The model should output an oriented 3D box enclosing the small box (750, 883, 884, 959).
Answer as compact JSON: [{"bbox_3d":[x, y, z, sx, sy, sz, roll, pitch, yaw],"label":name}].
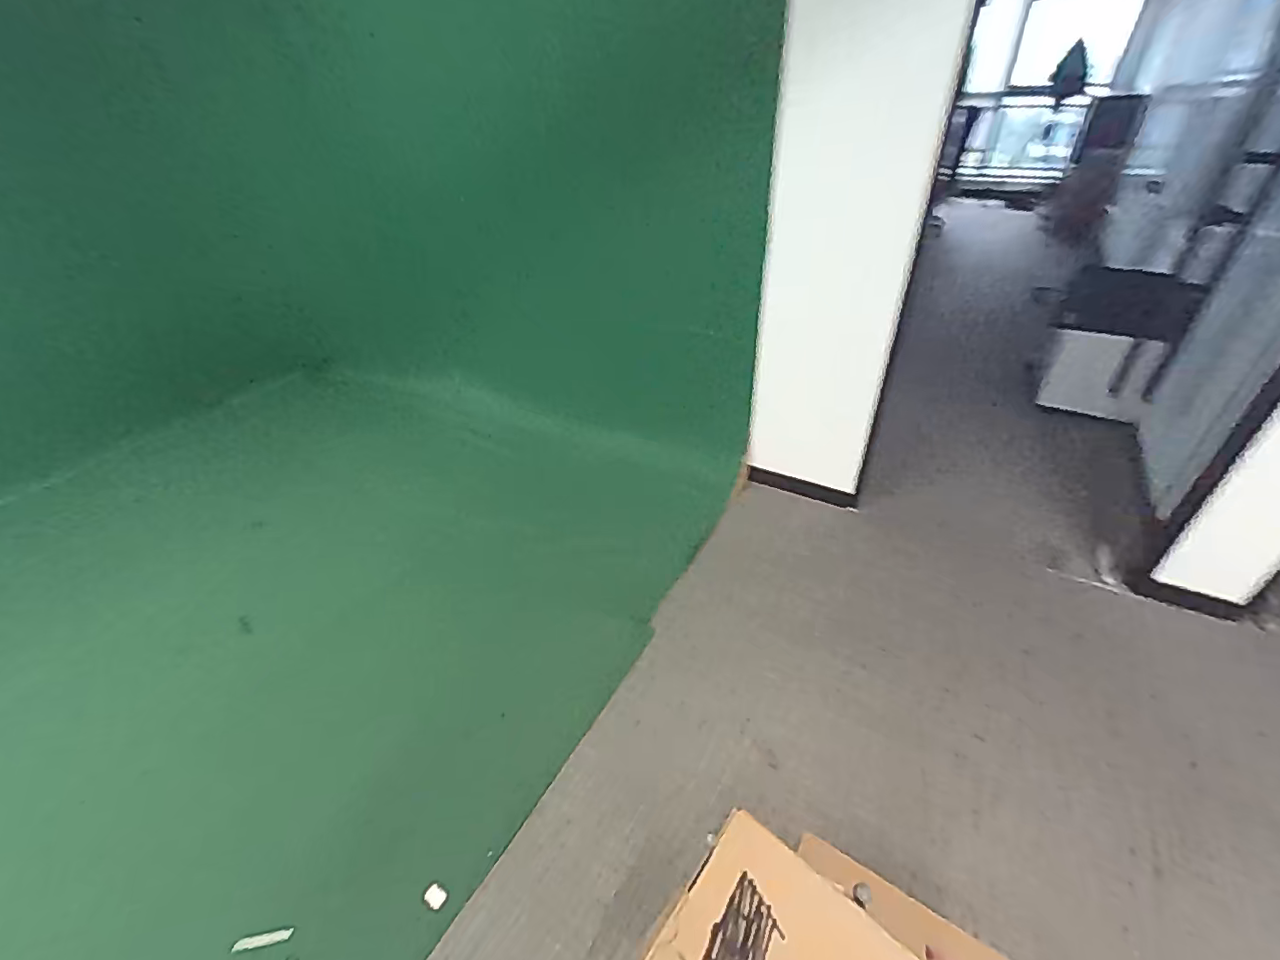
[{"bbox_3d":[0.249,0.780,0.824,0.168,0.176,0.179,20,41,28],"label":"small box"}]
